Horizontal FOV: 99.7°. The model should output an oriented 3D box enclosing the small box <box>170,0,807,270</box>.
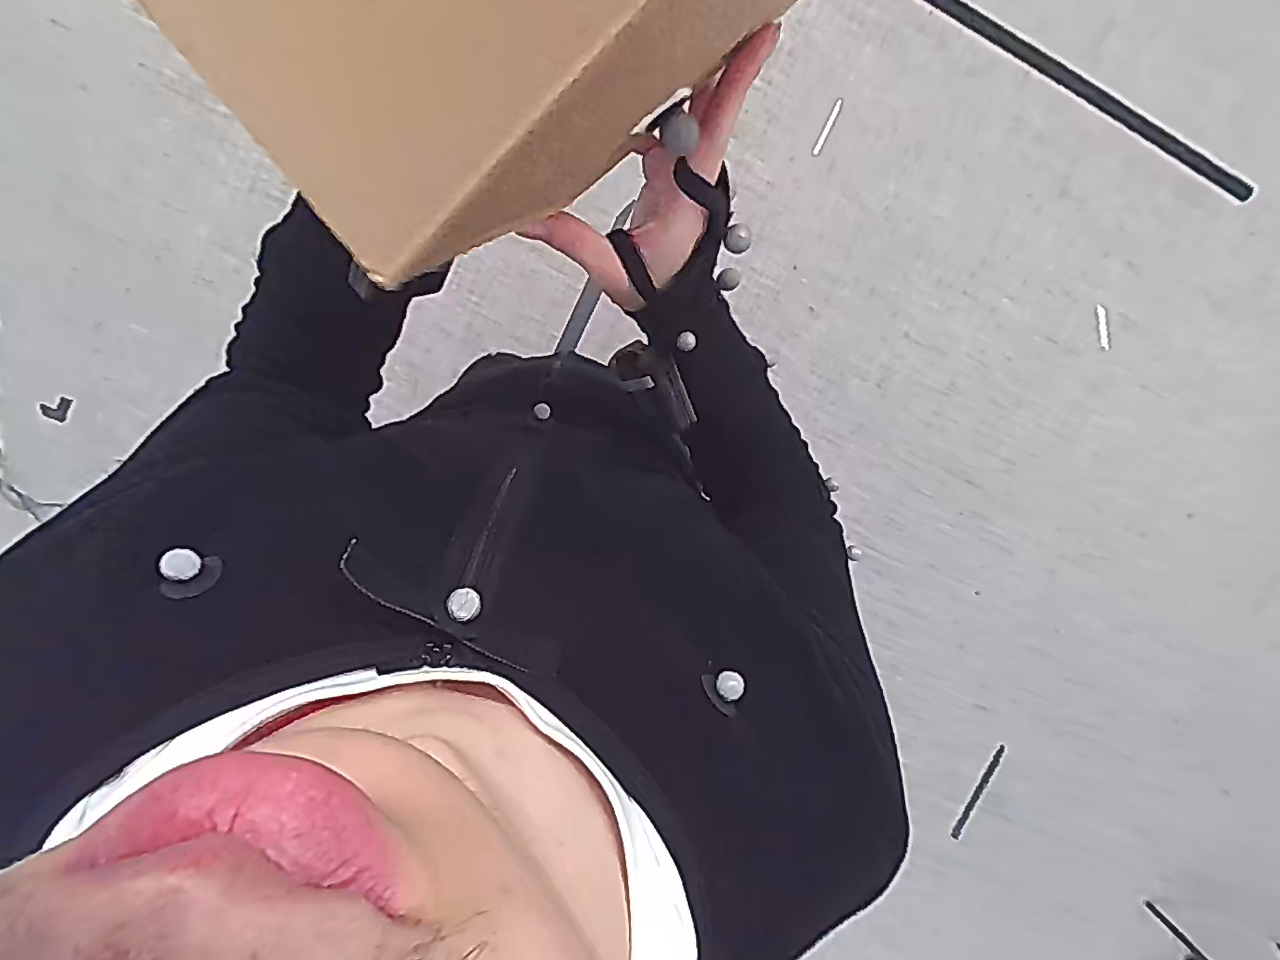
[{"bbox_3d":[-0.041,-0.204,0.167,0.168,0.176,0.179,-28,113,33],"label":"small box"}]
